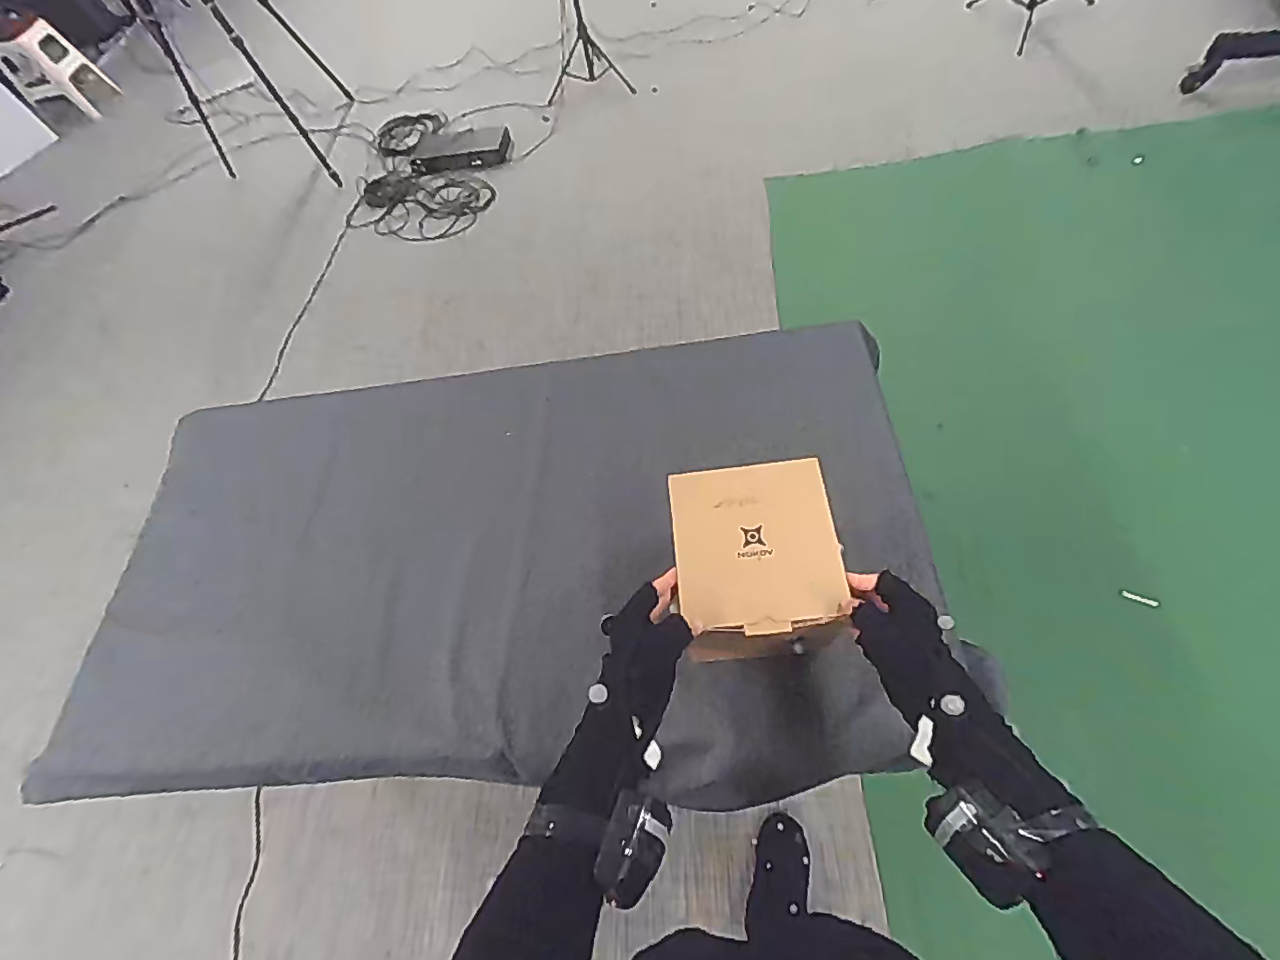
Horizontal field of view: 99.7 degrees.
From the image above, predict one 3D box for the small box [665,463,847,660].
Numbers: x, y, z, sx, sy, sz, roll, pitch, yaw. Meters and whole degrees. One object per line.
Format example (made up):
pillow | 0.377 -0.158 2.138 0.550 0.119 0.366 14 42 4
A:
small box | 0.125 0.104 0.627 0.168 0.176 0.179 -7 60 6
